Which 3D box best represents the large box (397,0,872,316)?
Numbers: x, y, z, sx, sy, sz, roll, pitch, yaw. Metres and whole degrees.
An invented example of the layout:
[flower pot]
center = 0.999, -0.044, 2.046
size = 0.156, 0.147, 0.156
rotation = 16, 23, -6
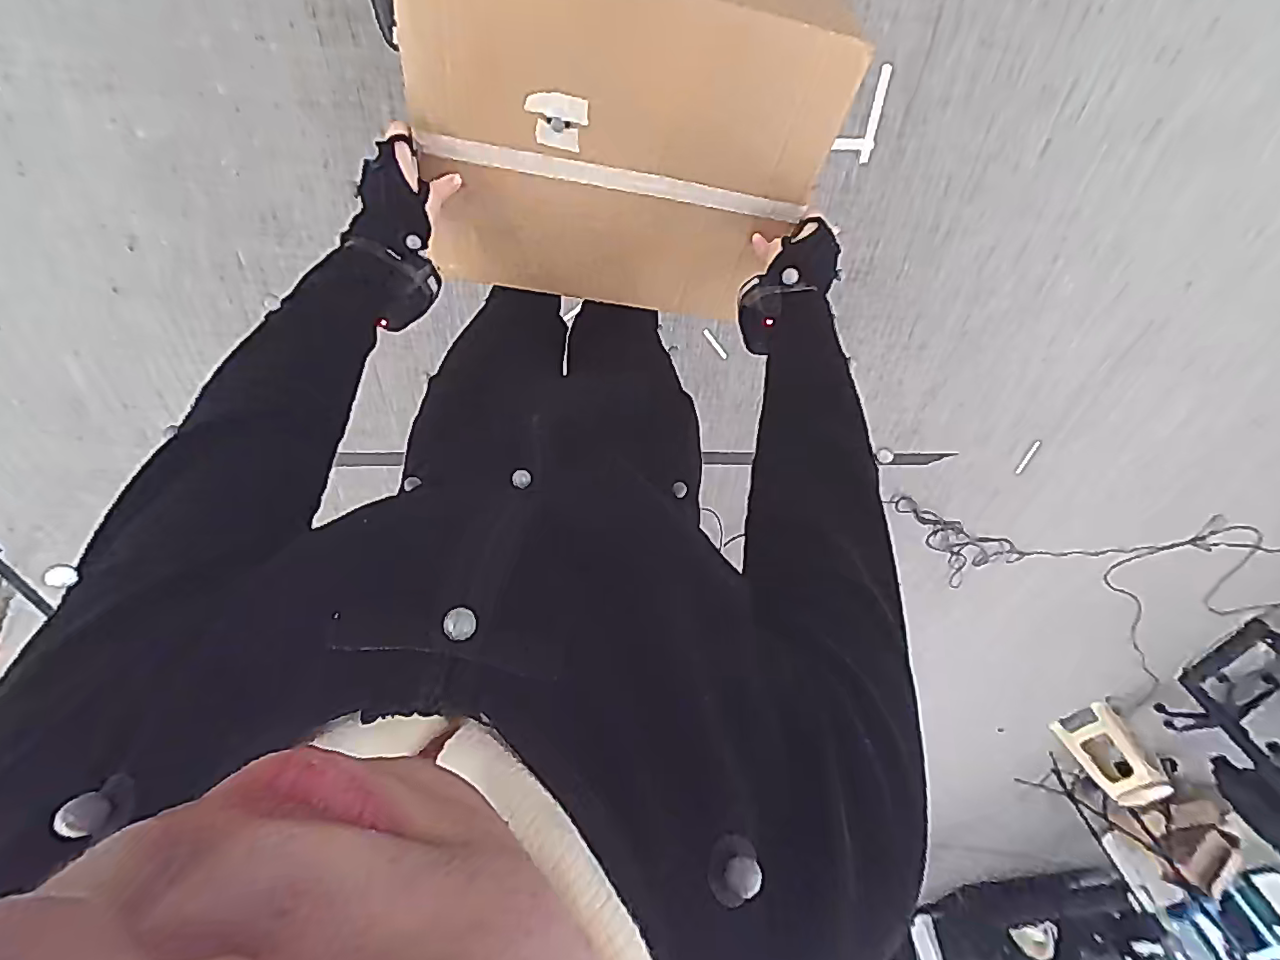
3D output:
[large box]
center = -0.020, -0.439, 0.634
size = 0.408, 0.320, 0.320
rotation = 6, 144, -9
